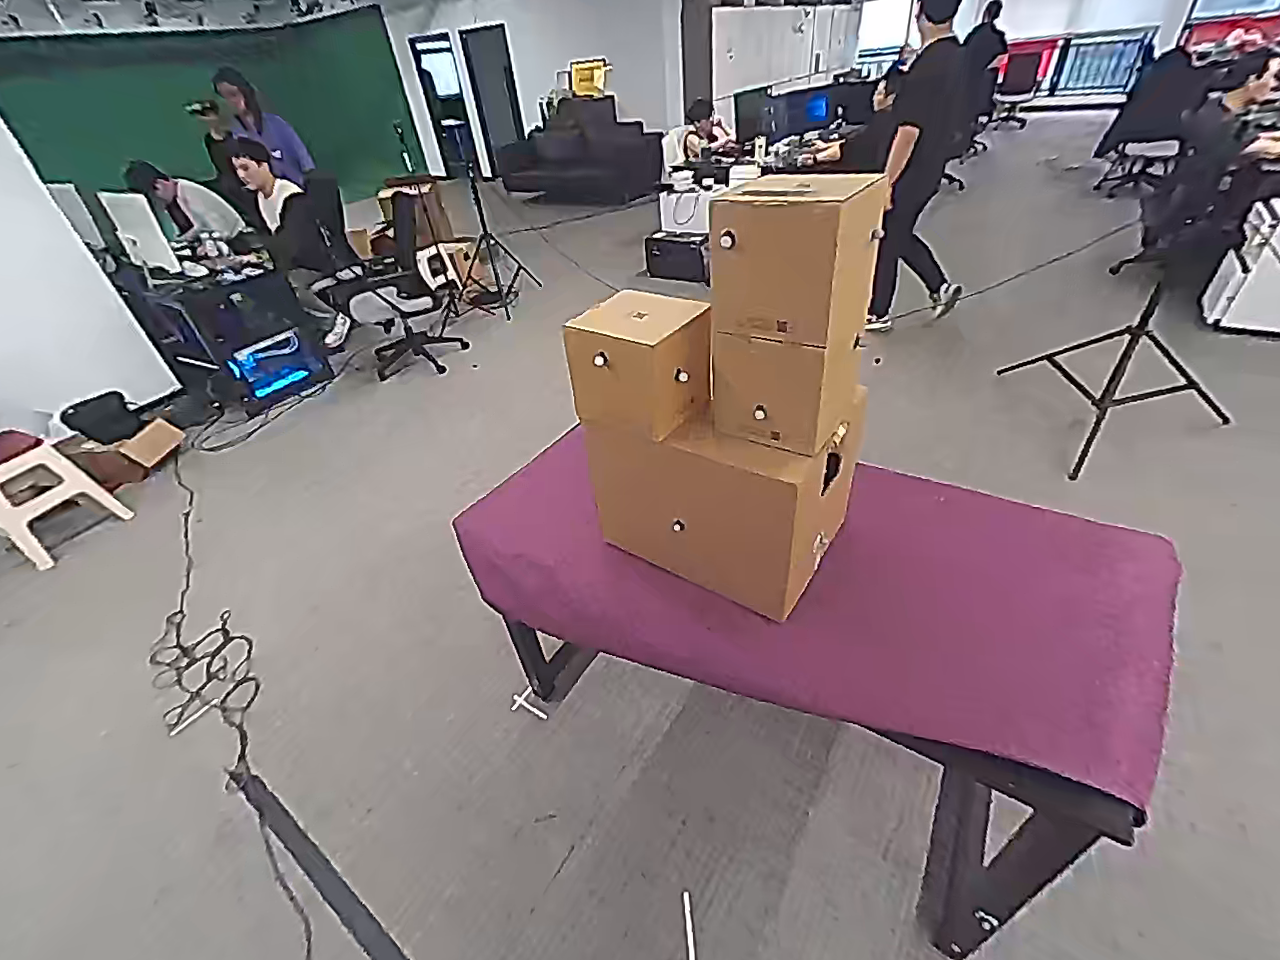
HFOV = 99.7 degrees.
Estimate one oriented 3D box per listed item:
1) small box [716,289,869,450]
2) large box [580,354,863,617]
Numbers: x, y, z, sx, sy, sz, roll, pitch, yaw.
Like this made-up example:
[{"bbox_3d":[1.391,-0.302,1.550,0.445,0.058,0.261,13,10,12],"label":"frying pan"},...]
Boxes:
[{"bbox_3d":[0.225,-0.171,0.814,0.168,0.176,0.179,18,44,31],"label":"small box"},{"bbox_3d":[0.157,-0.010,1.021,0.408,0.320,0.320,18,43,30],"label":"large box"}]
